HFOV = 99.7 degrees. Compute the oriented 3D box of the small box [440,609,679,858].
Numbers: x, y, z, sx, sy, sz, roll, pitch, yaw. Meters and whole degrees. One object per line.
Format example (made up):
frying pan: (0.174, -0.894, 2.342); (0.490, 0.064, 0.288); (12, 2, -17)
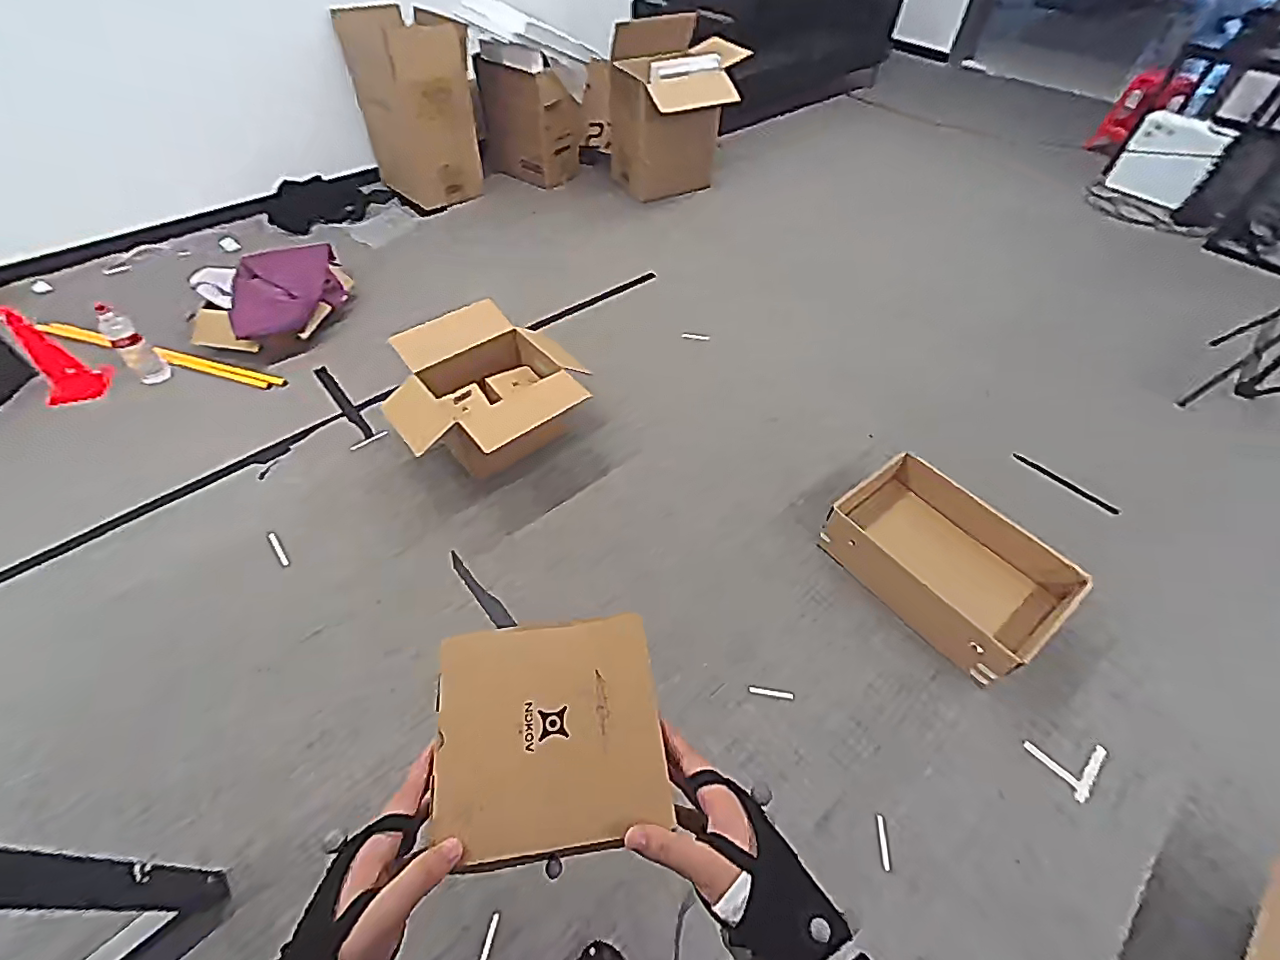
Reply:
small box: (-0.070, 0.236, 0.498); (0.179, 0.176, 0.168); (-6, 56, -8)
